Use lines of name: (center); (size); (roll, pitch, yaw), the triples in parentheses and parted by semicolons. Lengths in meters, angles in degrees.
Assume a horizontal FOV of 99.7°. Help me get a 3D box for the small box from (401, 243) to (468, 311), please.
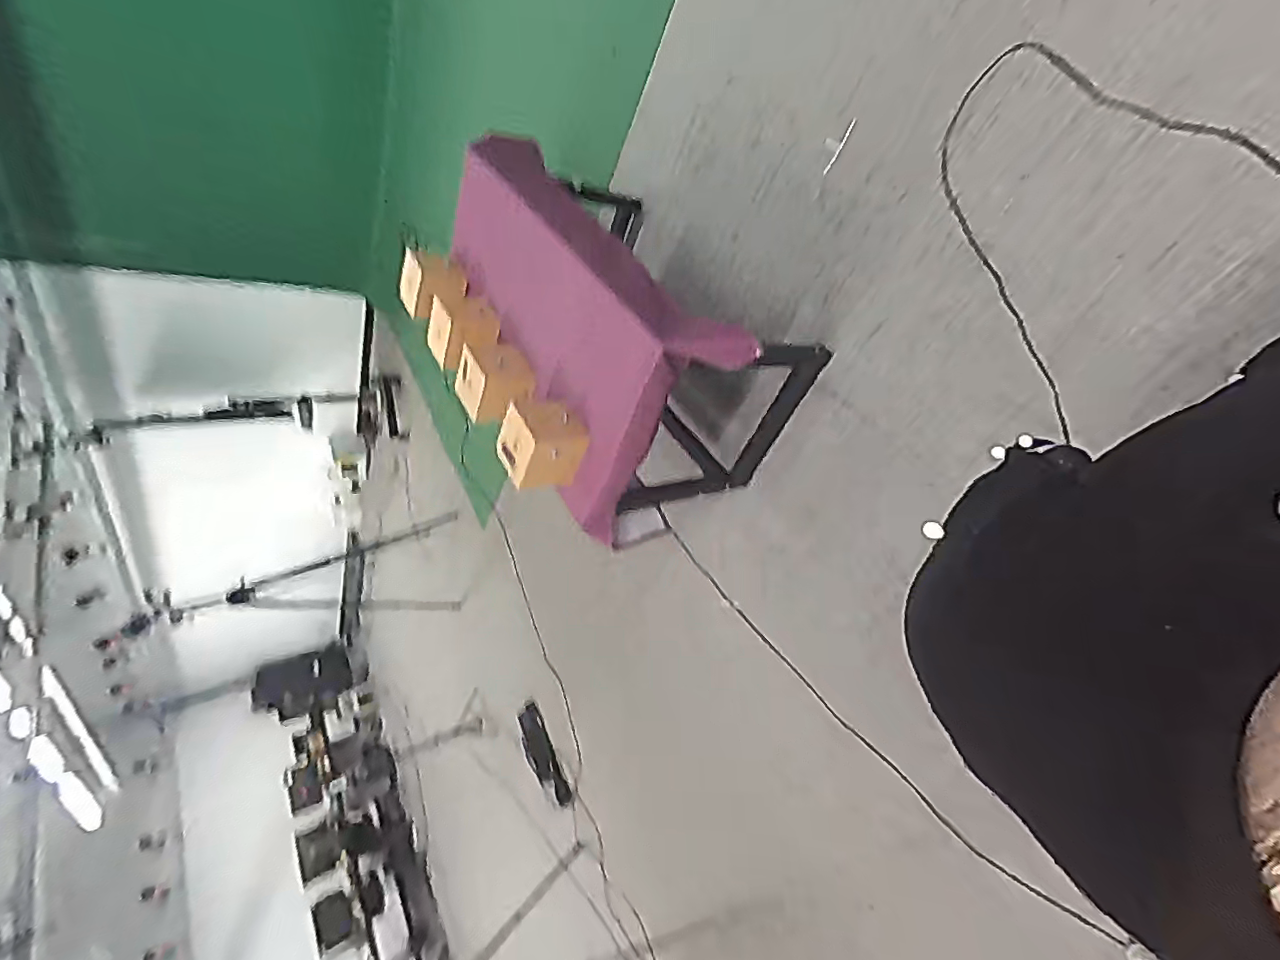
small box: (-0.739, -0.719, 1.949); (0.168, 0.176, 0.179); (55, 131, 28)

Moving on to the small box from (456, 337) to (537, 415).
small box: (-0.445, -0.318, 1.668); (0.179, 0.176, 0.168); (54, 134, 29)

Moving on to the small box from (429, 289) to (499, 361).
small box: (-0.590, -0.512, 1.813); (0.168, 0.176, 0.179); (53, 132, 30)
